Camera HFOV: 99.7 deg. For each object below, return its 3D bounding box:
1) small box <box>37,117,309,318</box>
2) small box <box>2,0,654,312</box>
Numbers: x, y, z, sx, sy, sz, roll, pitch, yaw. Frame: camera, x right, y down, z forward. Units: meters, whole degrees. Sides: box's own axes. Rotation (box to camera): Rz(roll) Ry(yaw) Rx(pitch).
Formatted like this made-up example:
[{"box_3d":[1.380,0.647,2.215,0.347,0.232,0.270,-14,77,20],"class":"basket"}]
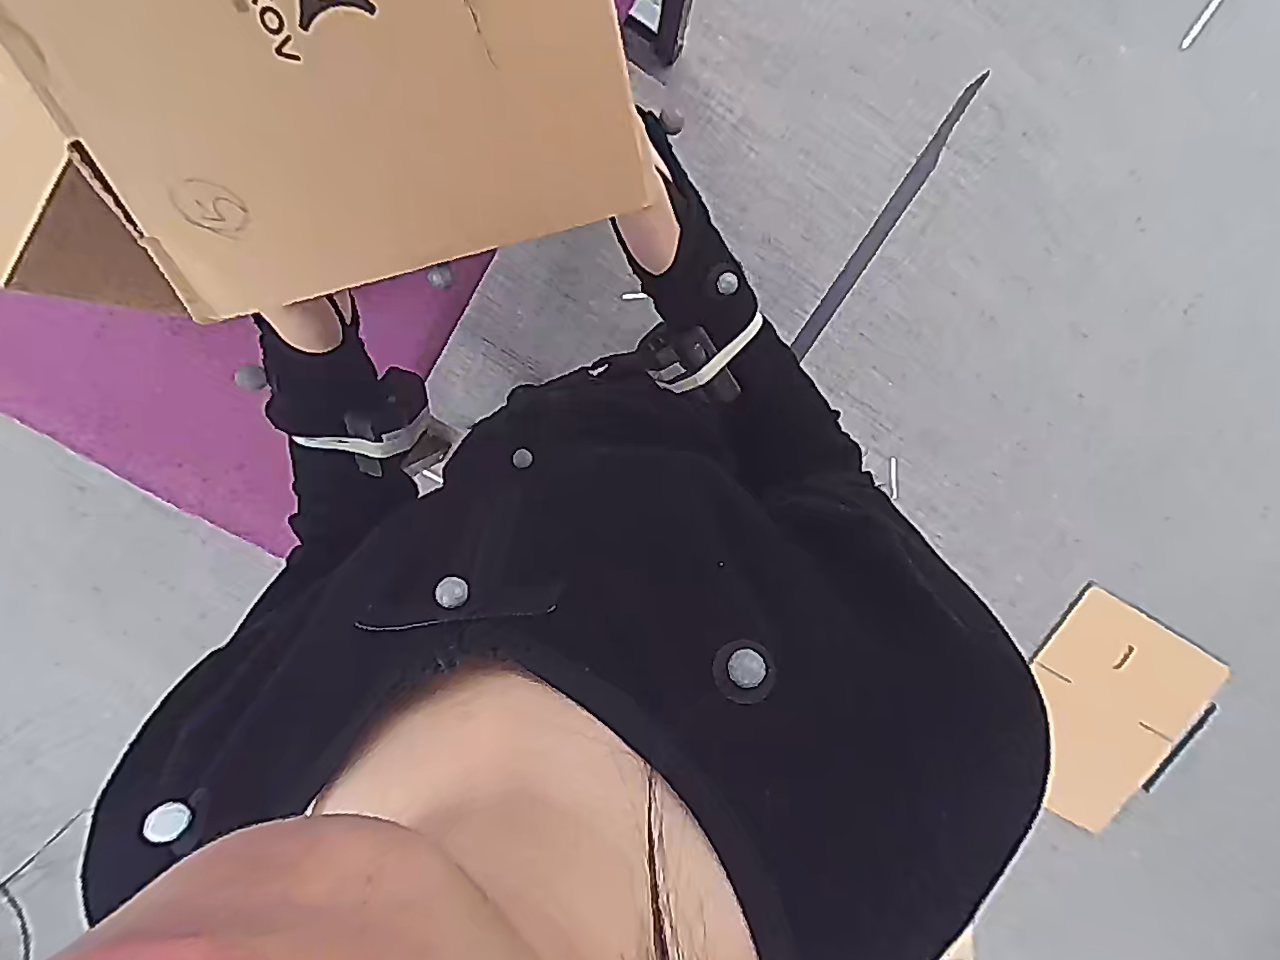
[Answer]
[{"box_3d":[-0.454,-0.301,0.586,0.168,0.176,0.179,35,97,-8],"class":"small box"},{"box_3d":[-0.105,-0.188,0.225,0.179,0.176,0.168,-15,123,-2],"class":"small box"}]
